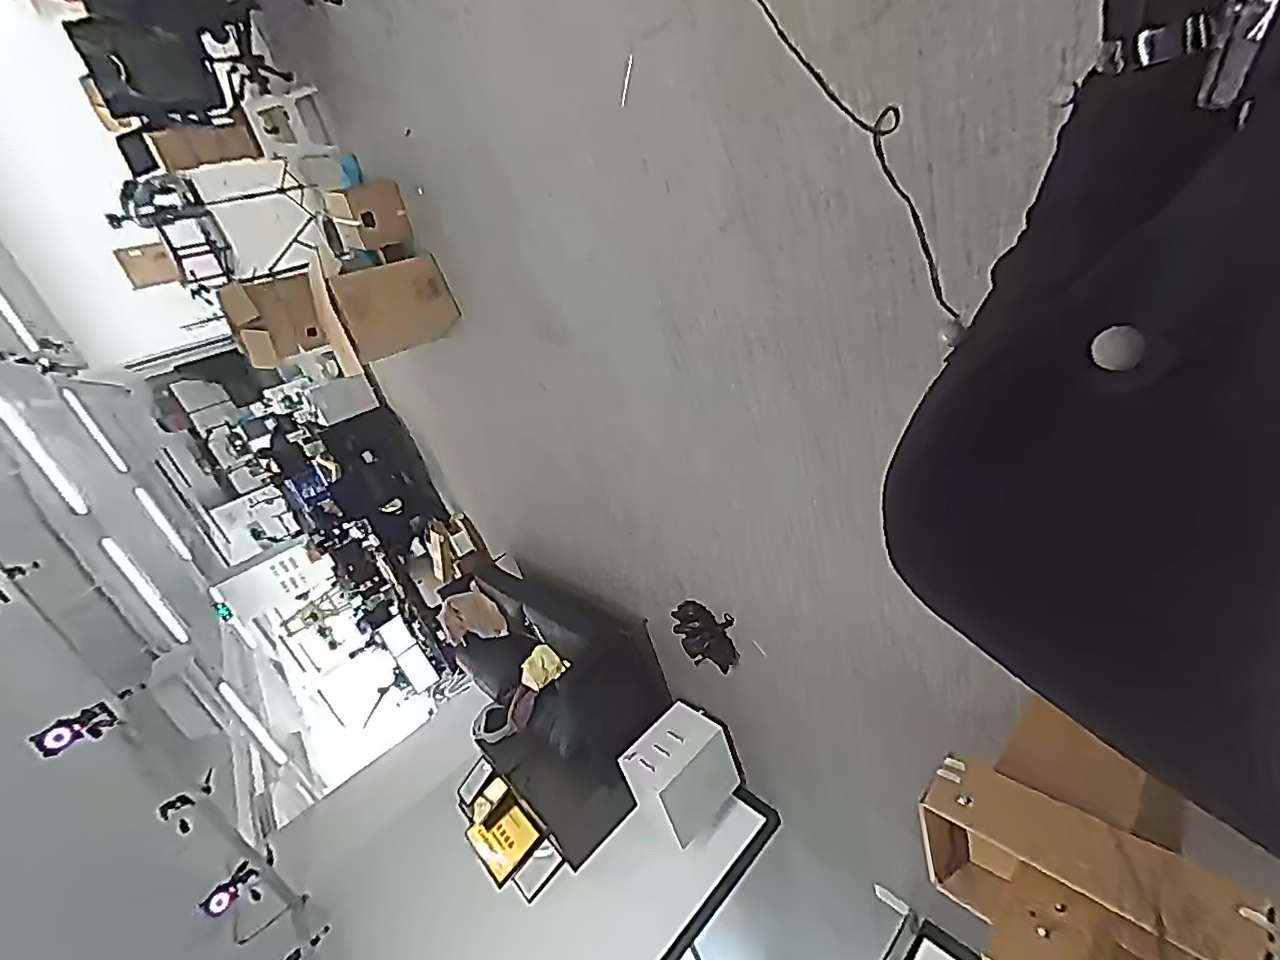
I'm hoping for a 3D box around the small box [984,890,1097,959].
[{"bbox_3d":[0.914,1.100,1.226,0.168,0.176,0.179,2,119,53],"label":"small box"}]

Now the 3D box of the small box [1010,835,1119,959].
[{"bbox_3d":[1.031,1.020,1.310,0.168,0.176,0.179,0,119,53],"label":"small box"}]
